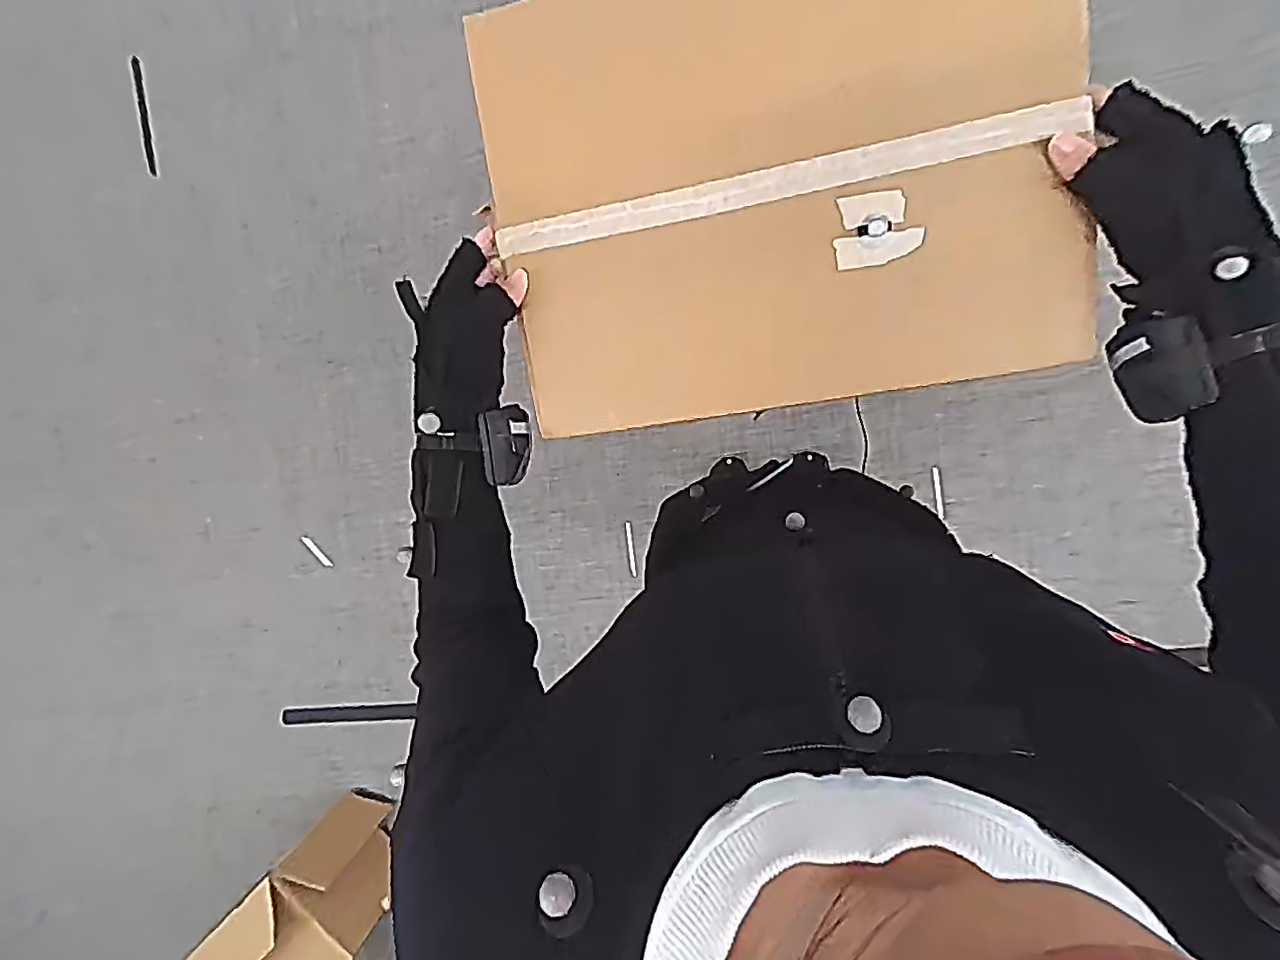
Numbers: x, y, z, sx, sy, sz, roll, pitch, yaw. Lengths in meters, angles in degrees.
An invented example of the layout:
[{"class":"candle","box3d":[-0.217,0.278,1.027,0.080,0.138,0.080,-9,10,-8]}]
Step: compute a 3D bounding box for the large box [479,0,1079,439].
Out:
[{"class":"large box","box3d":[0.114,-0.237,0.542,0.408,0.320,0.320,-8,99,10]}]
